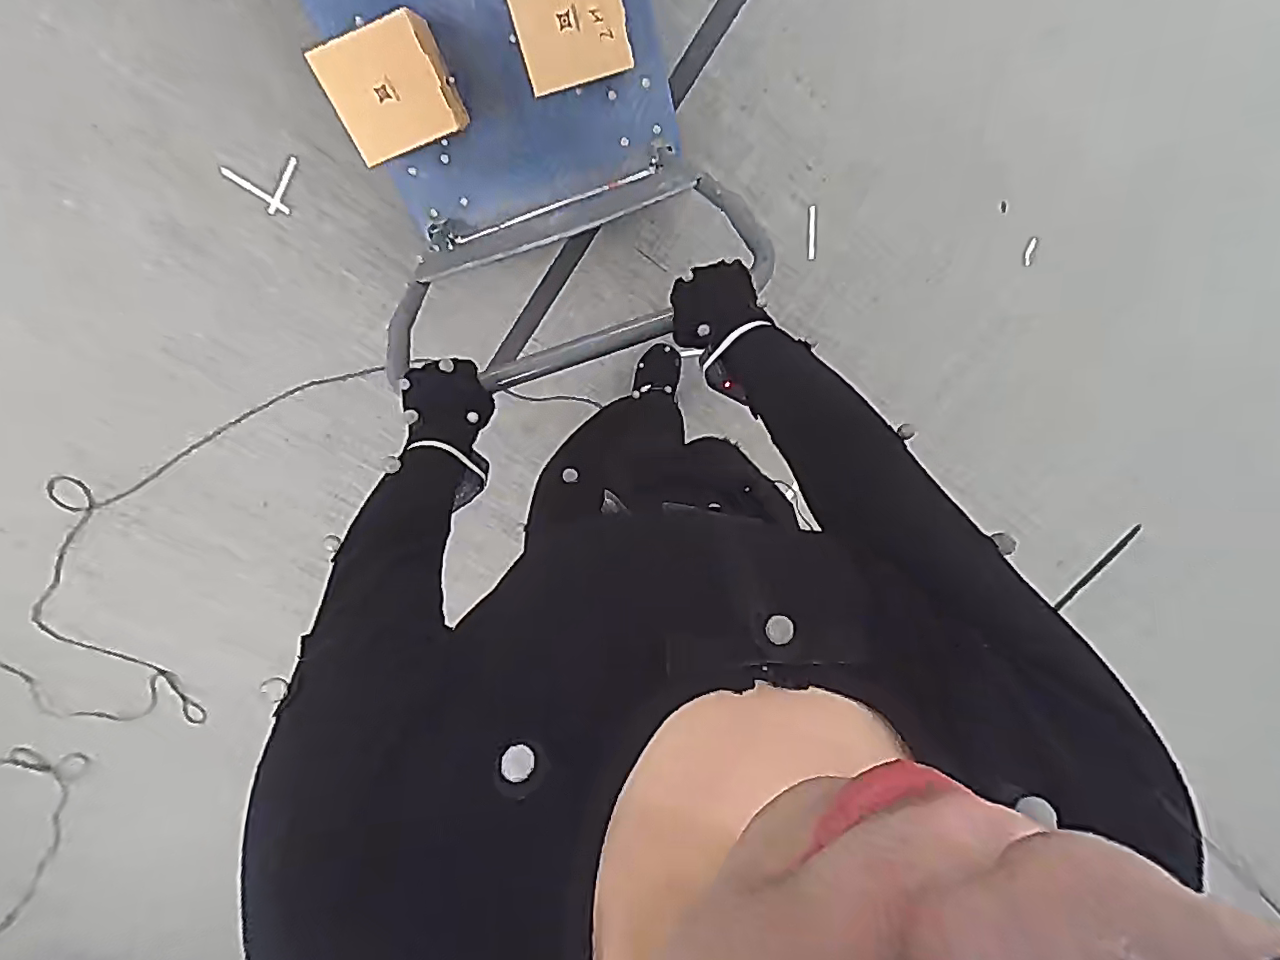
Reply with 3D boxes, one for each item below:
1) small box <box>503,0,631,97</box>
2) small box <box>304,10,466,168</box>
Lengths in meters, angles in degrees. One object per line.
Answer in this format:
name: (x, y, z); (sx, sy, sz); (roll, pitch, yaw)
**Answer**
small box: (-0.125, -0.766, 0.913); (0.179, 0.176, 0.168); (-16, 126, 1)
small box: (-0.423, -0.664, 0.933); (0.179, 0.176, 0.168); (-22, 126, 4)
